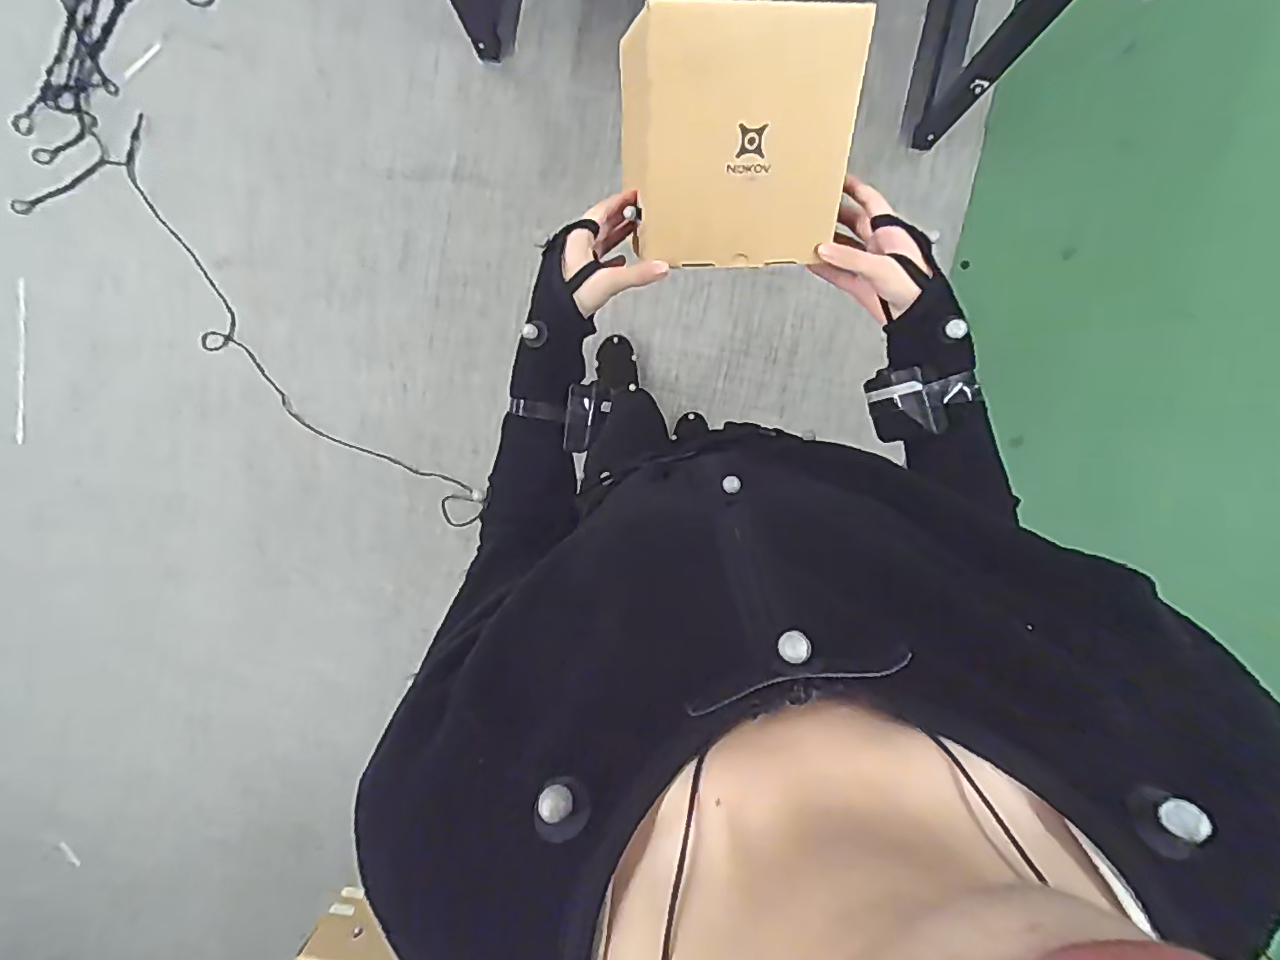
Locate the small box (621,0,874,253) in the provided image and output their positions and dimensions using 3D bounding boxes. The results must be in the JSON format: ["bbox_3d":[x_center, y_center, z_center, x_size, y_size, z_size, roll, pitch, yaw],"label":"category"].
[{"bbox_3d":[0.073,-0.309,0.479,0.168,0.176,0.179,-4,124,-7],"label":"small box"}]
